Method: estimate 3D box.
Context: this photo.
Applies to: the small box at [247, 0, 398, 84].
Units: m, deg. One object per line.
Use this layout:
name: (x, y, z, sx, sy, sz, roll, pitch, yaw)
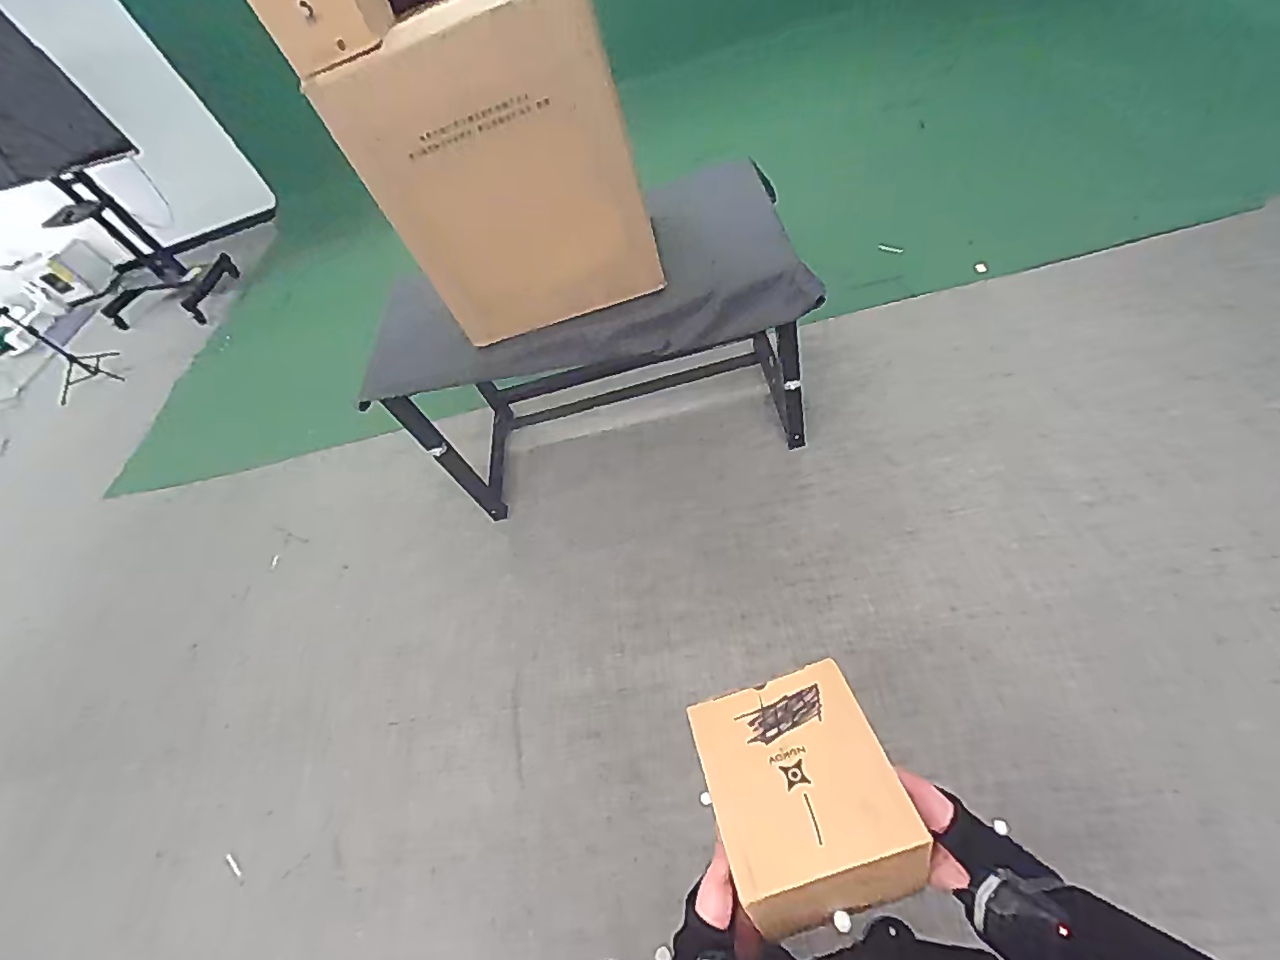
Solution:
small box: (-0.560, -0.845, 0.962, 0.168, 0.176, 0.179, -14, 52, 10)
